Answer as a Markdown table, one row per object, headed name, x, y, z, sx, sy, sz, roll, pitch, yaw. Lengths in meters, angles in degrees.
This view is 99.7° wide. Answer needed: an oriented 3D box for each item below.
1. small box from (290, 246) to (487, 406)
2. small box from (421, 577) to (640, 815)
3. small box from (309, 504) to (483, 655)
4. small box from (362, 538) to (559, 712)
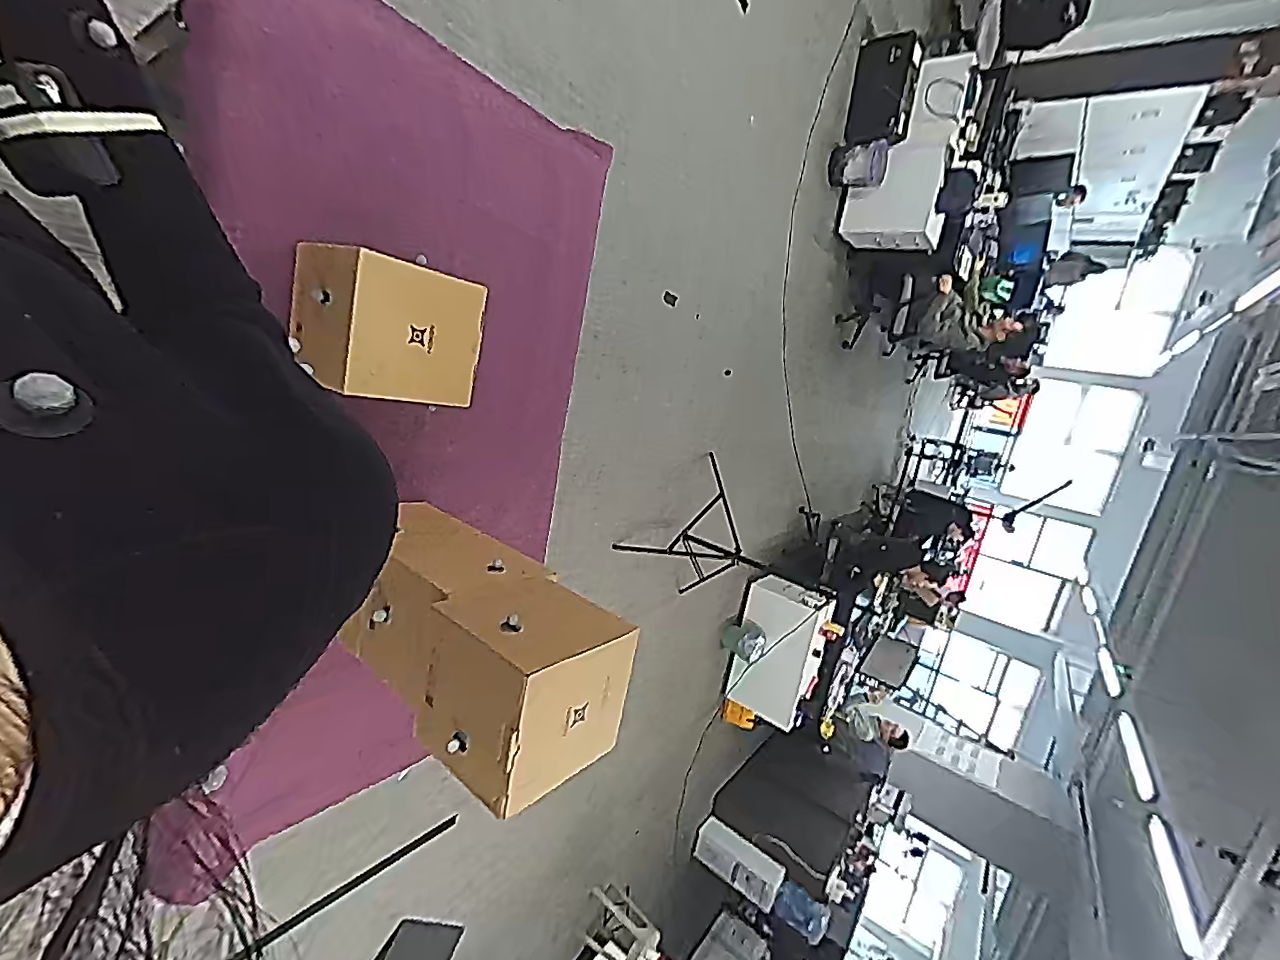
| name | x | y | z | sx | sy | sz | roll | pitch | yaw |
| --- | --- | --- | --- | --- | --- | --- | --- | --- | --- |
| small box | -0.337 | -0.201 | 0.721 | 0.179 | 0.176 | 0.168 | -2 | 107 | -55 |
| small box | -0.129 | 0.229 | 0.629 | 0.179 | 0.176 | 0.168 | -5 | 110 | -54 |
| small box | -0.374 | 0.138 | 0.825 | 0.179 | 0.176 | 0.168 | 1 | 105 | -55 |
| small box | -0.243 | 0.184 | 0.737 | 0.179 | 0.176 | 0.168 | 1 | 104 | -54 |
